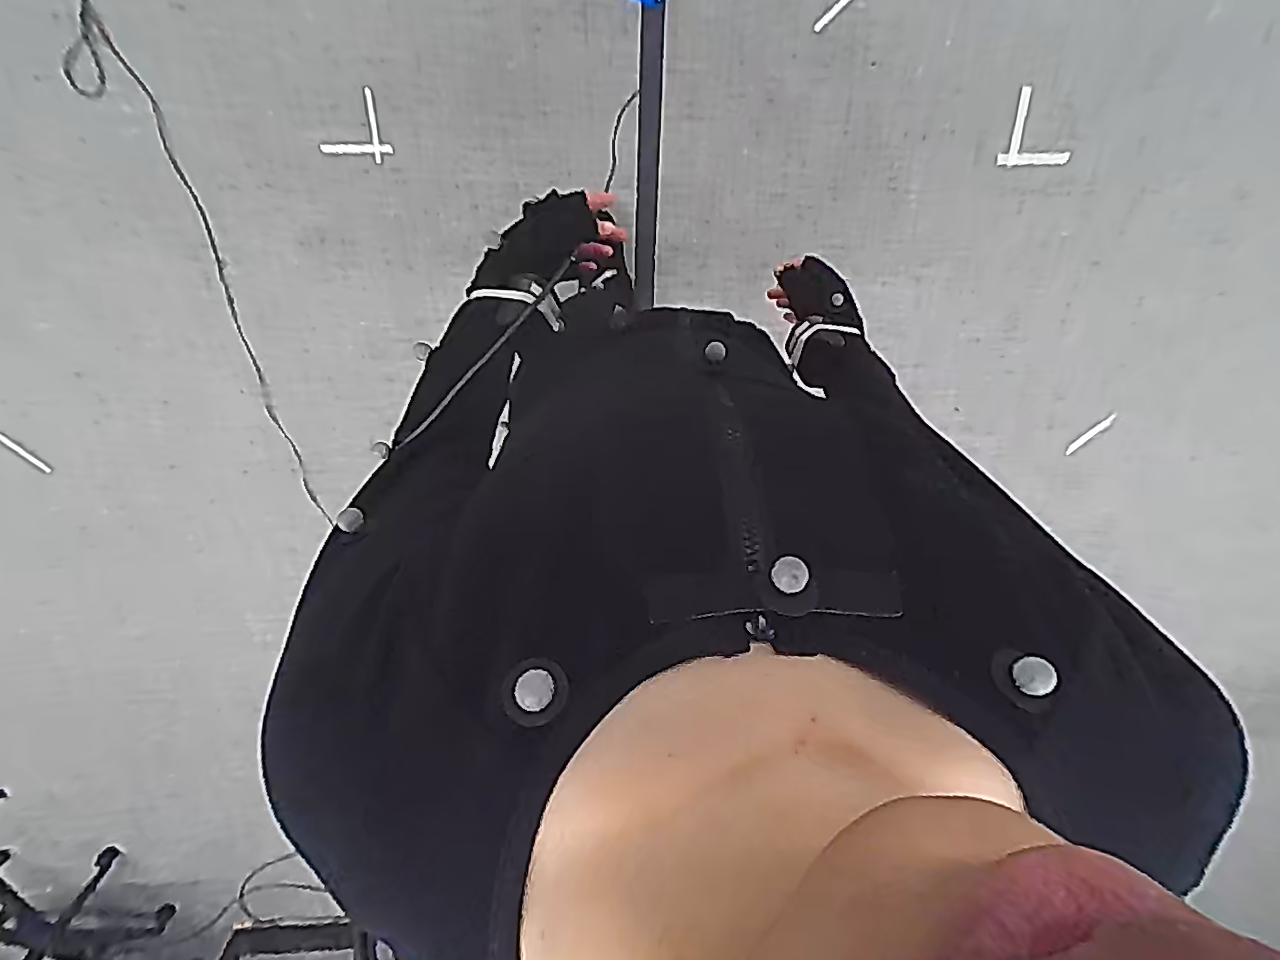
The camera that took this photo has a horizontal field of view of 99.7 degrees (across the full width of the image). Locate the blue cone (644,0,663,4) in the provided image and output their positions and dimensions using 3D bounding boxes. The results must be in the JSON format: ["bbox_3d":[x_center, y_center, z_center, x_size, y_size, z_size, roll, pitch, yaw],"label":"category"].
[{"bbox_3d":[-0.004,-1.023,0.924,0.192,0.380,0.193,14,111,-11],"label":"blue cone"}]
